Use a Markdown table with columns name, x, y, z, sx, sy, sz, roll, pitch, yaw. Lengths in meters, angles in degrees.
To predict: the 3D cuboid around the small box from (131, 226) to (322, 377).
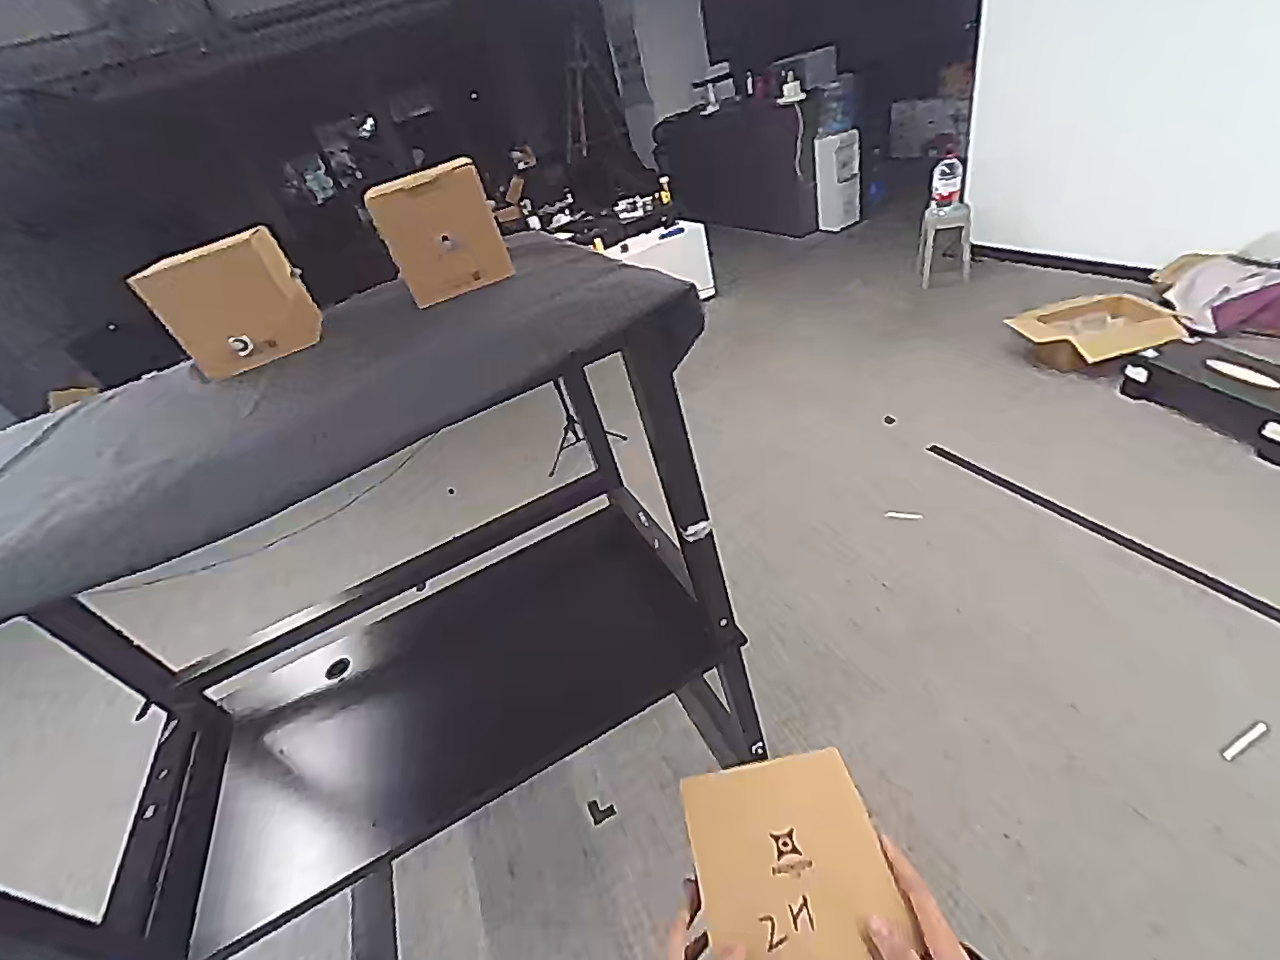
| name | x | y | z | sx | sy | sz | roll | pitch | yaw |
| --- | --- | --- | --- | --- | --- | --- | --- | --- | --- |
| small box | -0.640 | -0.287 | 0.867 | 0.168 | 0.176 | 0.179 | -27 | 37 | -11 |

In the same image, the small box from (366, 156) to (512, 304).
| name | x | y | z | sx | sy | sz | roll | pitch | yaw |
| --- | --- | --- | --- | --- | --- | --- | --- | --- | --- |
| small box | -0.326 | -0.411 | 0.896 | 0.168 | 0.176 | 0.179 | -23 | 38 | -7 |
